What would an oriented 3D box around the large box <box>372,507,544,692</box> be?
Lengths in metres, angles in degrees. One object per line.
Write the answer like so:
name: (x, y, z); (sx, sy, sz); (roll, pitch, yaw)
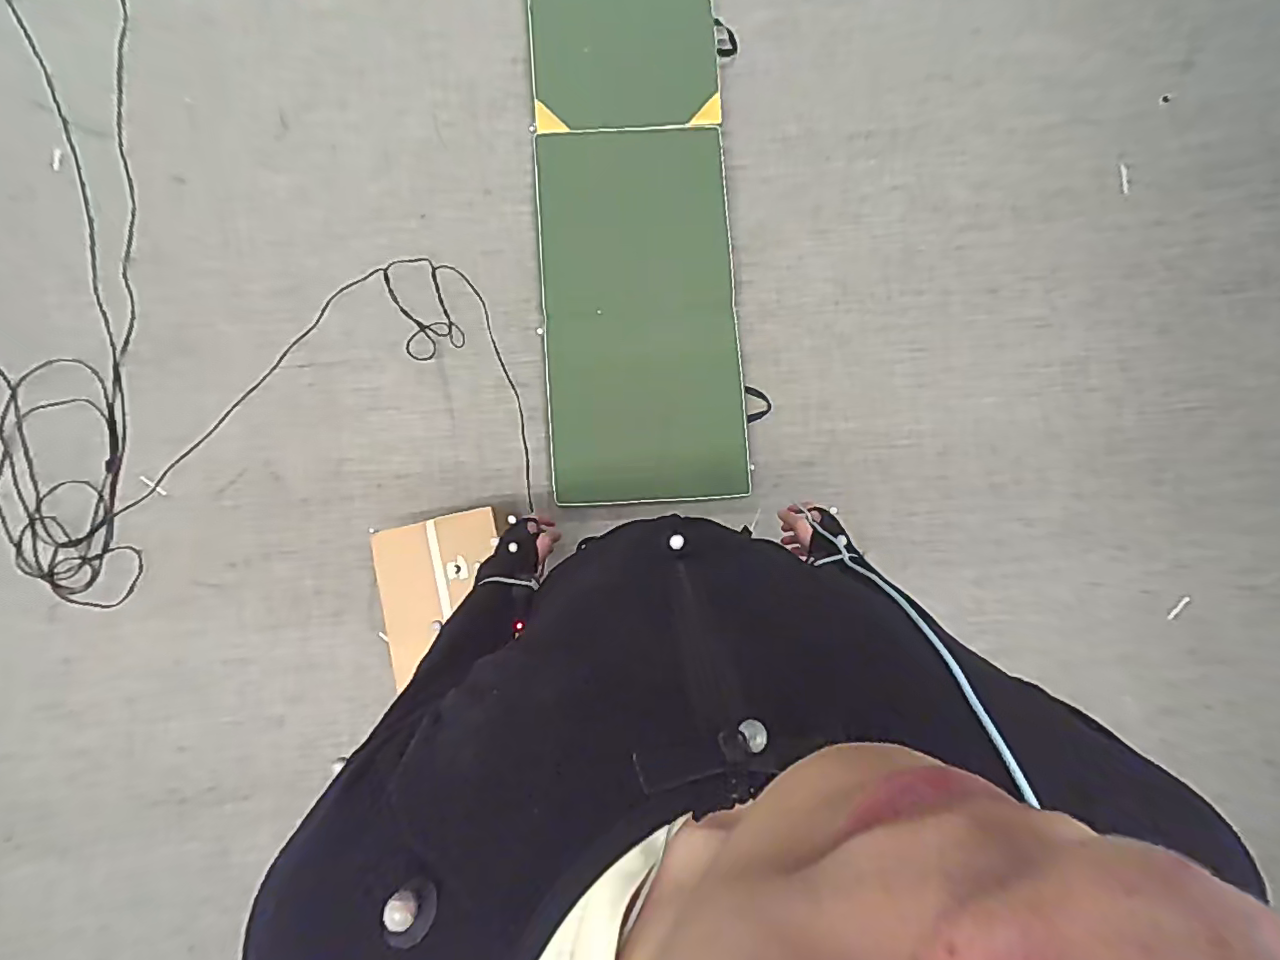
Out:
large box: (-0.478, 0.308, 1.486); (0.320, 0.320, 0.408); (-13, 84, -2)
